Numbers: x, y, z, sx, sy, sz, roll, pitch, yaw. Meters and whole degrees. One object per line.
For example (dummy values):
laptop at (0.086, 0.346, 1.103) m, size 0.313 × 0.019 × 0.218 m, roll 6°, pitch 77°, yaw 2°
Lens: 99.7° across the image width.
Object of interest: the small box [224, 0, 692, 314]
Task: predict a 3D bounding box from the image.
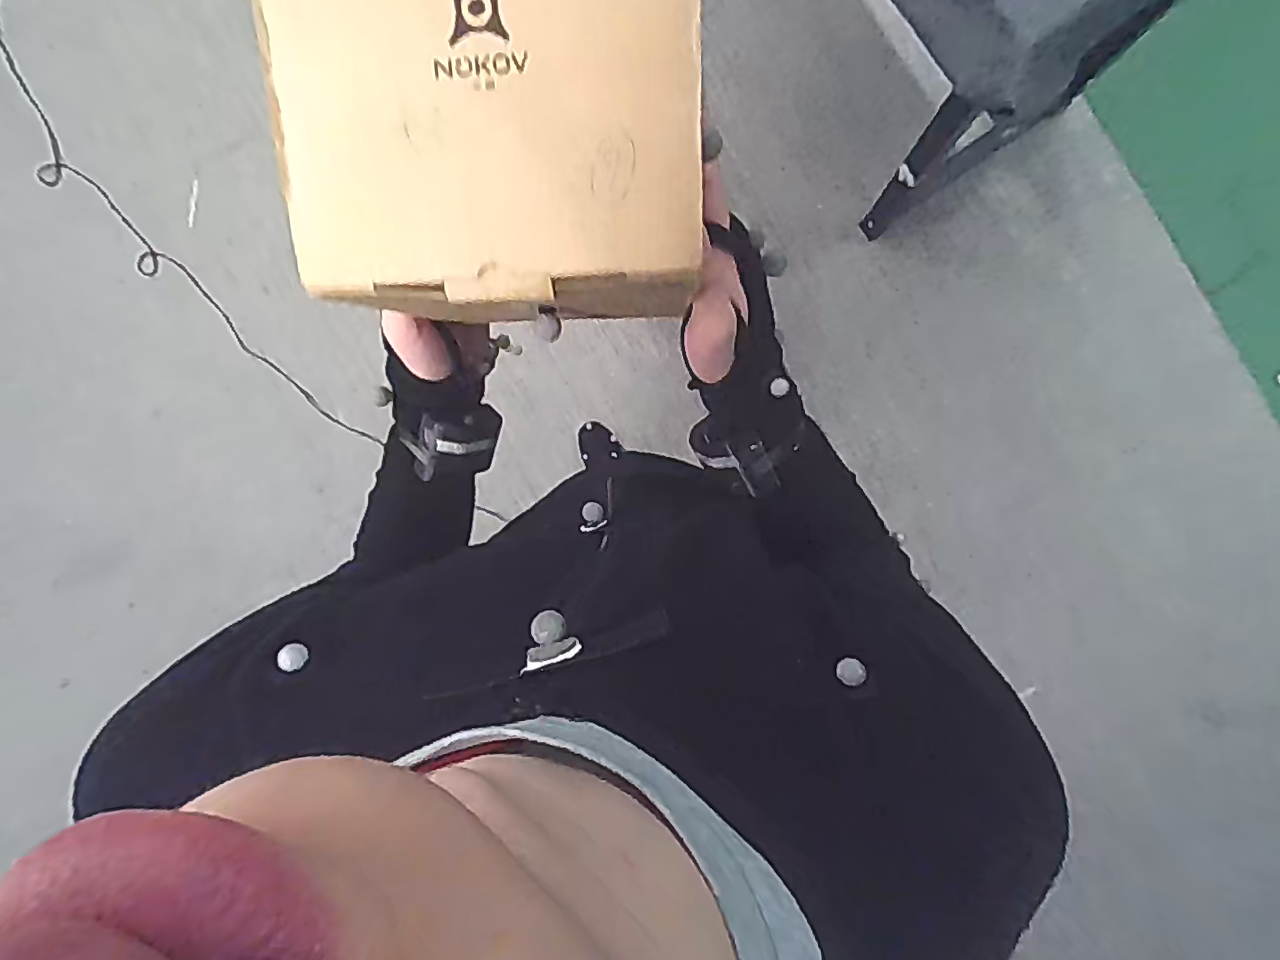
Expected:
small box at (-0.059, -0.175, 0.266) m, size 0.168 × 0.176 × 0.179 m, roll -2°, pitch 105°, yaw 2°
